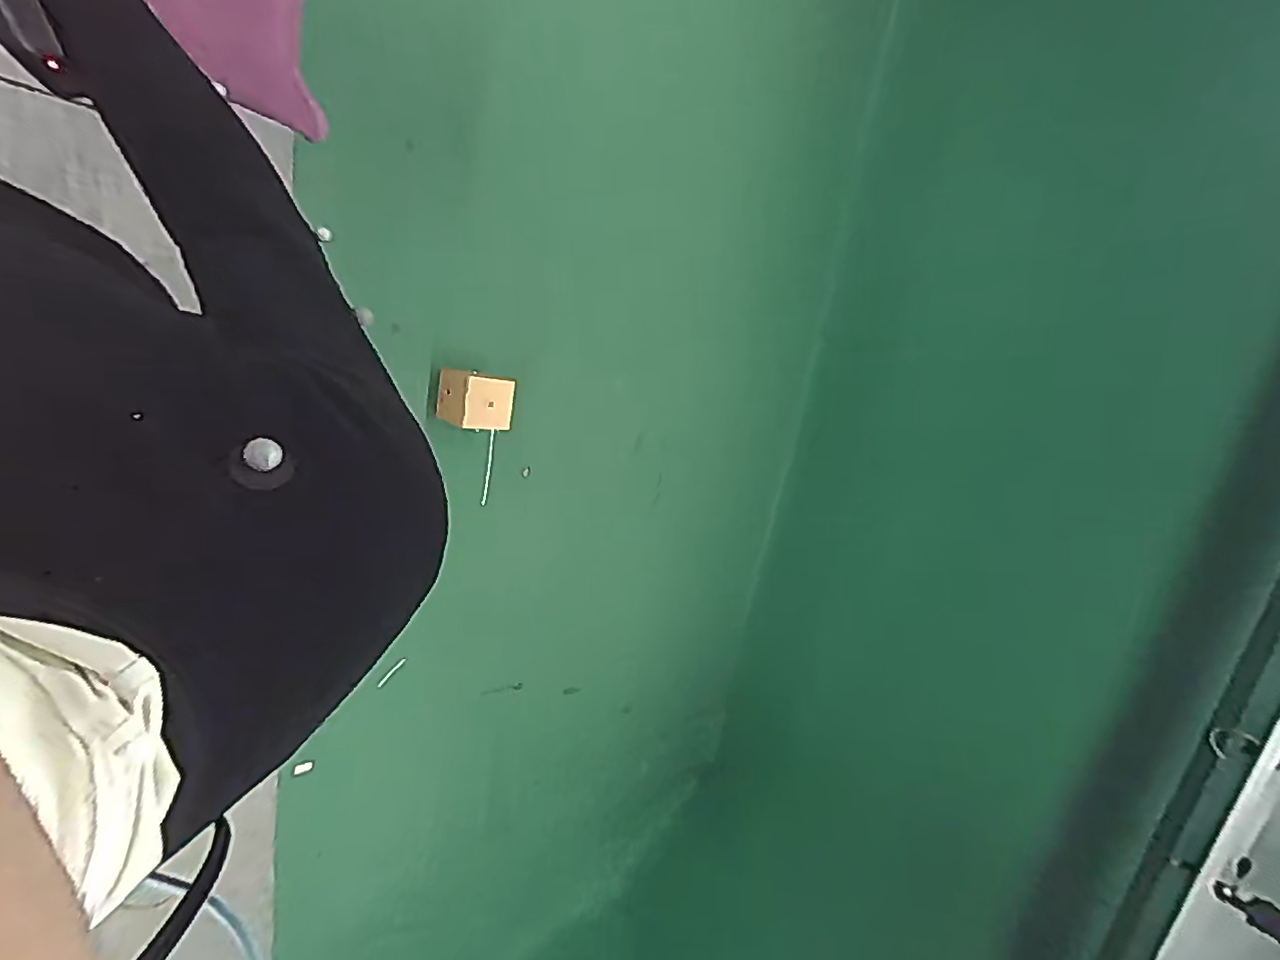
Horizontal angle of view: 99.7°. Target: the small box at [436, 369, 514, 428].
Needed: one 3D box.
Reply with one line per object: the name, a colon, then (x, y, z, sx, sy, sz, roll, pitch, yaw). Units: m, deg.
small box: (-0.547, -0.270, 1.787, 0.179, 0.176, 0.168, -5, 110, -49)
